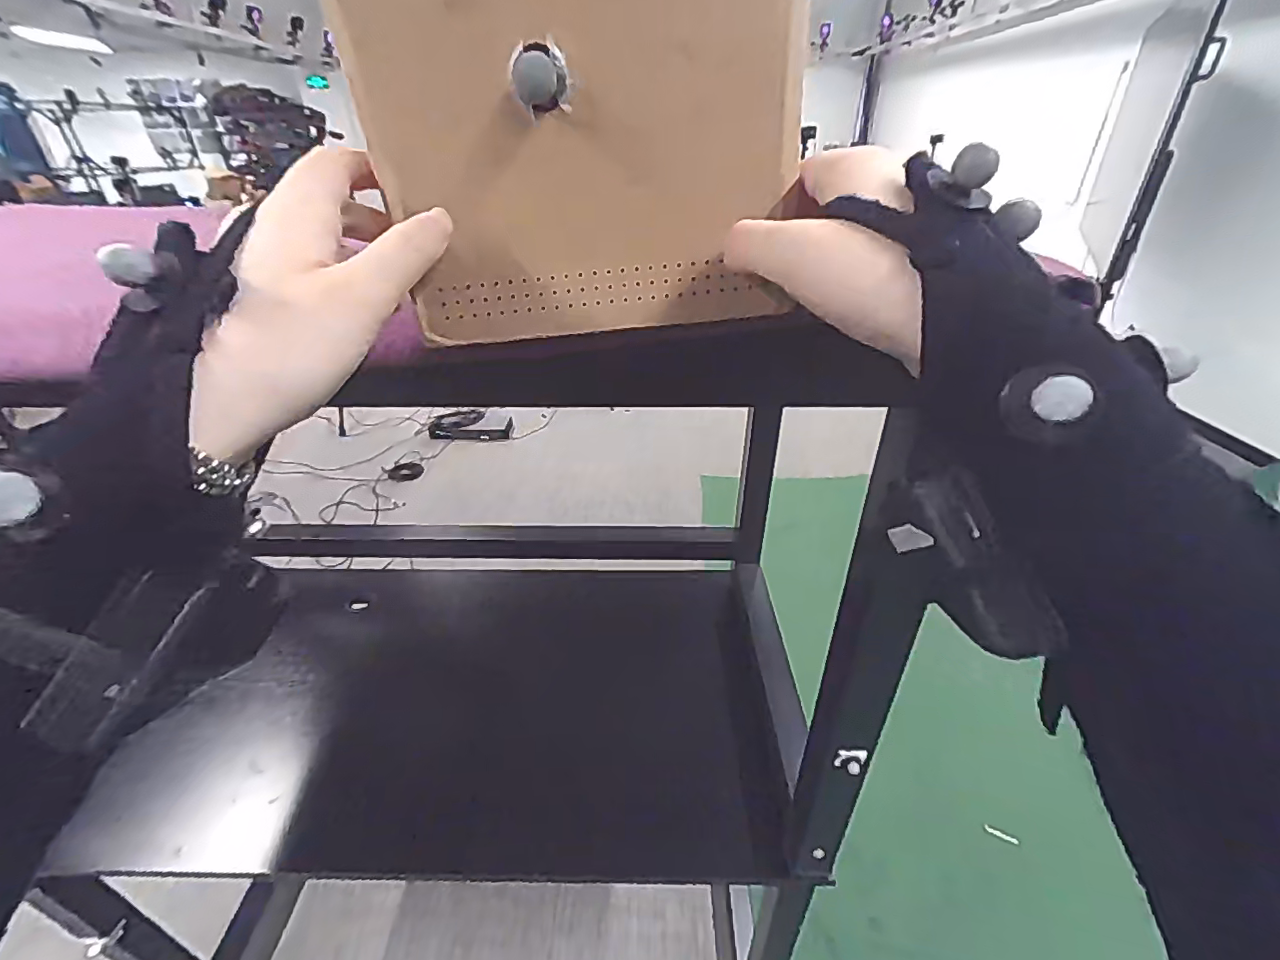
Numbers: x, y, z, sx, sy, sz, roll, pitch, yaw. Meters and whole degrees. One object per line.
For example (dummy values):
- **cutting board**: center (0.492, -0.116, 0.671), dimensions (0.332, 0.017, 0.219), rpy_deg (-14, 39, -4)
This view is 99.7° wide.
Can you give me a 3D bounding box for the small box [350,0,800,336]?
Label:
- **small box**: center (-0.022, -0.182, 0.280), dimensions (0.179, 0.176, 0.168), rpy_deg (-6, 33, 0)
